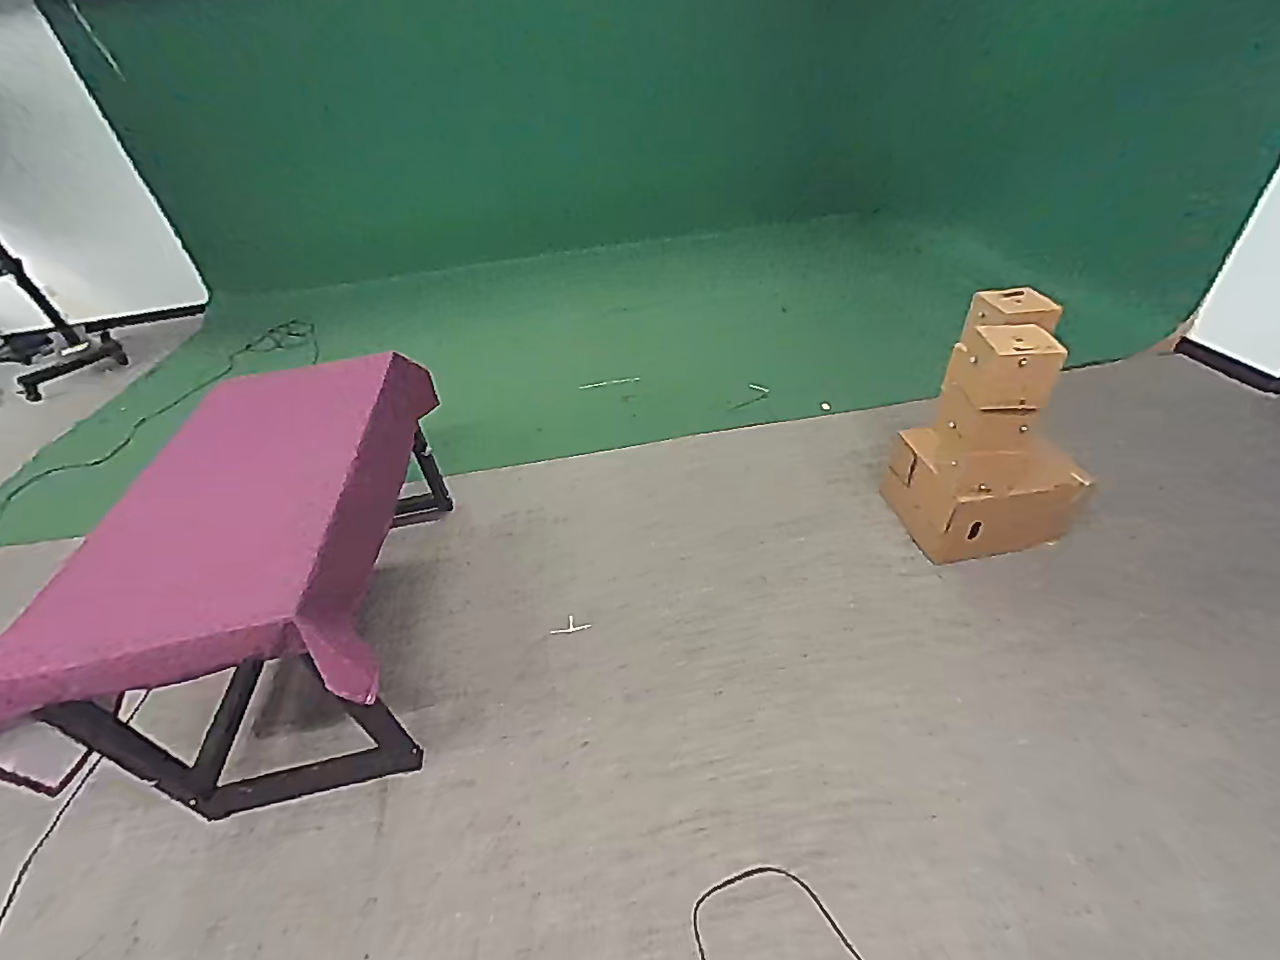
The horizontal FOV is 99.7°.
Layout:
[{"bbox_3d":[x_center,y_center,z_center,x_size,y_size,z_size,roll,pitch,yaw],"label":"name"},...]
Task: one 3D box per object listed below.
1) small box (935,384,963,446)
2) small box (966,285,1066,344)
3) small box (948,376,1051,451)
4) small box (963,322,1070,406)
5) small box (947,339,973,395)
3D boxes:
[{"bbox_3d":[1.163,-0.228,1.870,0.168,0.176,0.179,-8,39,-4],"label":"small box"},{"bbox_3d":[1.145,-0.484,1.666,0.168,0.176,0.179,-5,39,2],"label":"small box"},{"bbox_3d":[1.047,-0.201,1.594,0.179,0.176,0.168,-4,40,4],"label":"small box"},{"bbox_3d":[1.016,-0.318,1.480,0.168,0.176,0.179,-1,39,8],"label":"small box"},{"bbox_3d":[1.149,-0.356,1.770,0.179,0.176,0.168,-8,39,-2],"label":"small box"}]
